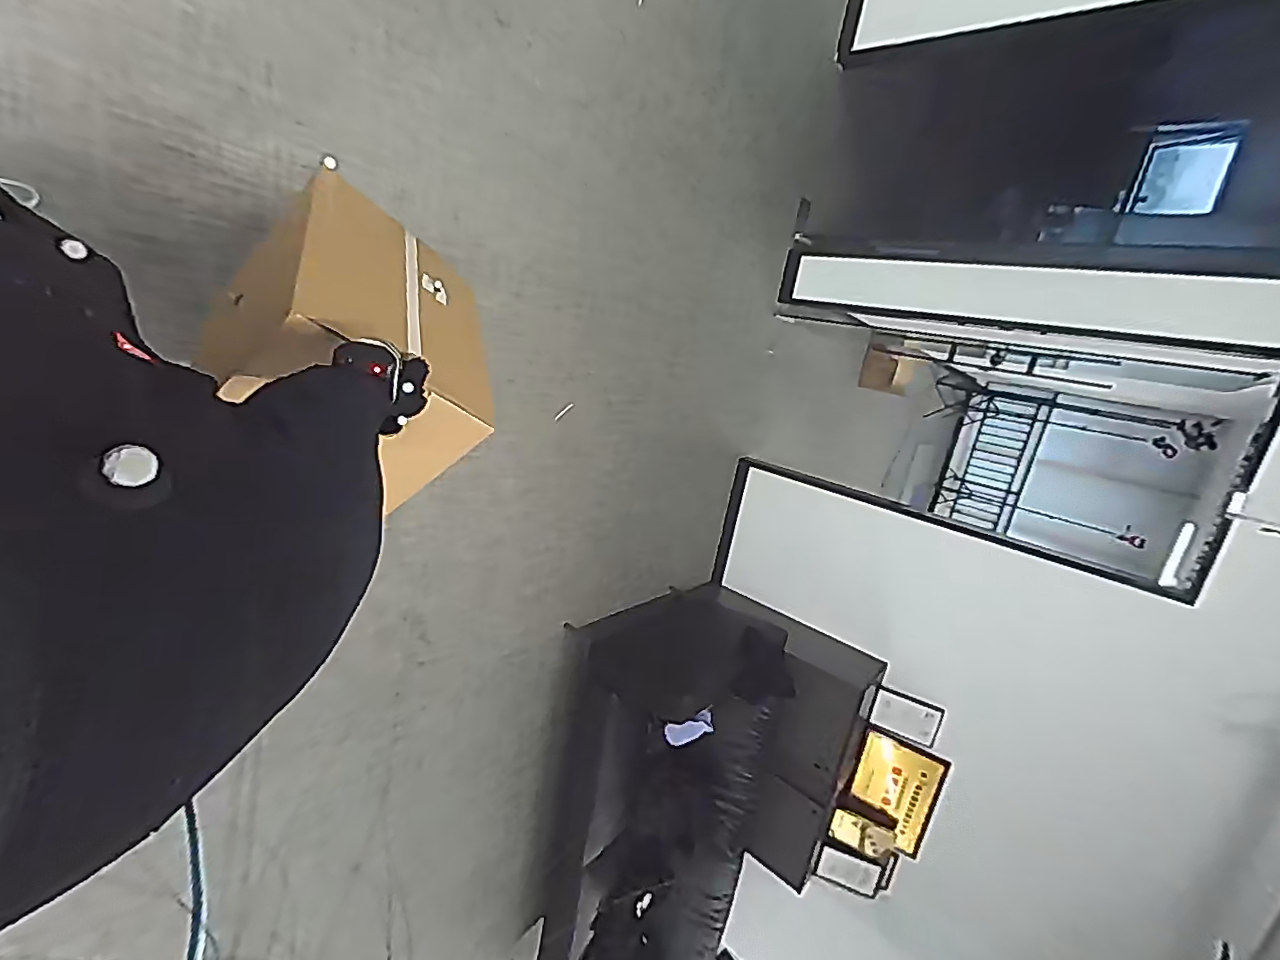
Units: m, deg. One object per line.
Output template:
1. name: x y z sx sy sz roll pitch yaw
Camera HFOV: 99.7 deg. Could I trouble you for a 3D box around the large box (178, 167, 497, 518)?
1. large box: -0.481 -0.208 0.898 0.320 0.408 0.320 -34 142 18
